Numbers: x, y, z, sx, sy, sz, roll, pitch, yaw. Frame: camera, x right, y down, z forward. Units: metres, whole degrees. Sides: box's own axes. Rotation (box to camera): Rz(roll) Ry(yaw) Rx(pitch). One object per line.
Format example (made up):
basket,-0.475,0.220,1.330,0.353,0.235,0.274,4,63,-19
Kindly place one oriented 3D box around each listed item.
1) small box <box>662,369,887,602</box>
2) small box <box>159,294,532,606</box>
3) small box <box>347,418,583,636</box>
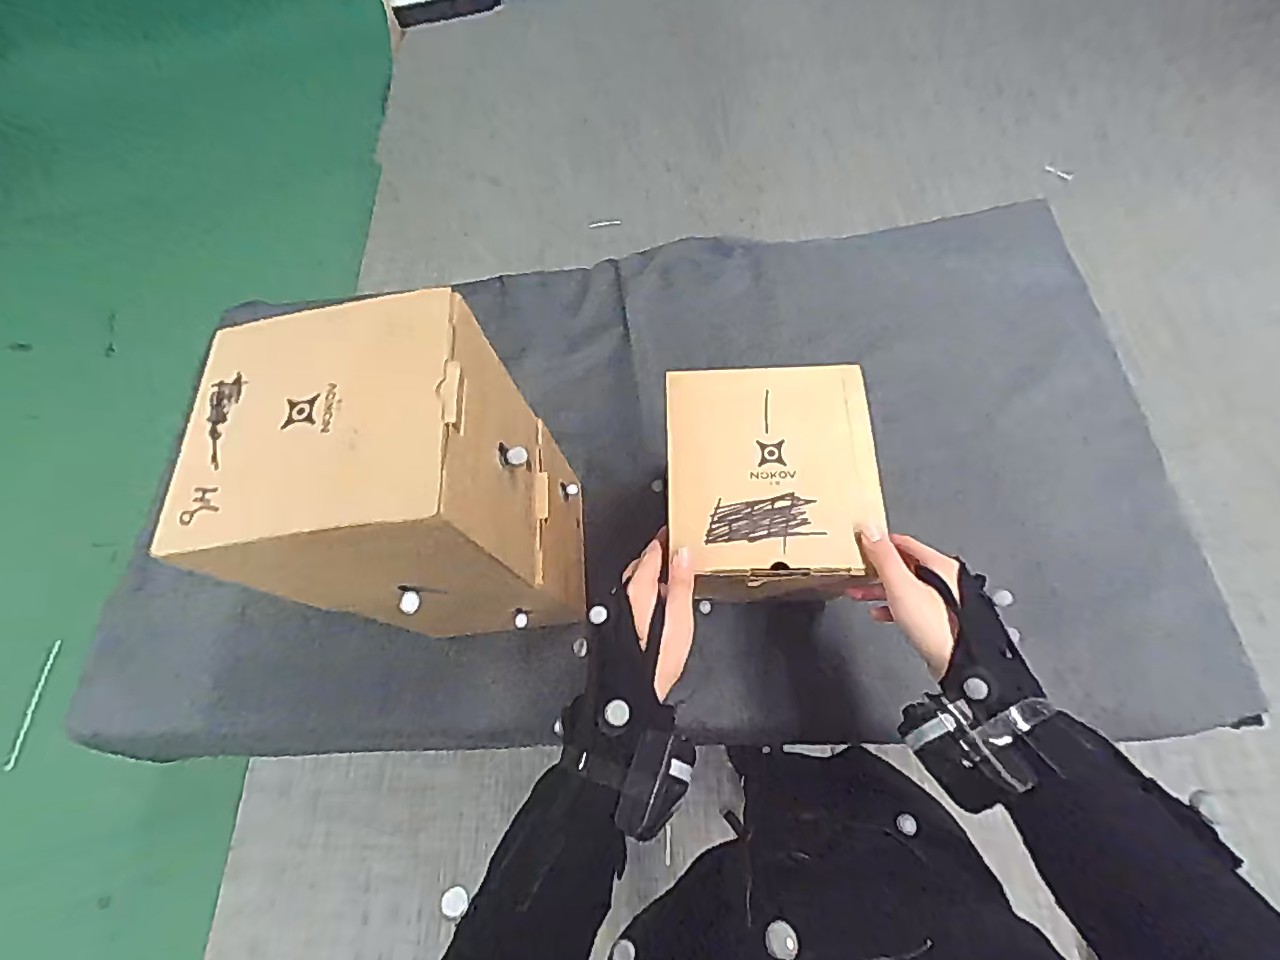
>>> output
small box,0.106,0.018,0.501,0.168,0.176,0.179,-2,70,4
small box,-0.187,-0.008,0.407,0.179,0.176,0.168,-8,65,5
small box,-0.159,0.058,0.555,0.179,0.176,0.168,-9,64,5
